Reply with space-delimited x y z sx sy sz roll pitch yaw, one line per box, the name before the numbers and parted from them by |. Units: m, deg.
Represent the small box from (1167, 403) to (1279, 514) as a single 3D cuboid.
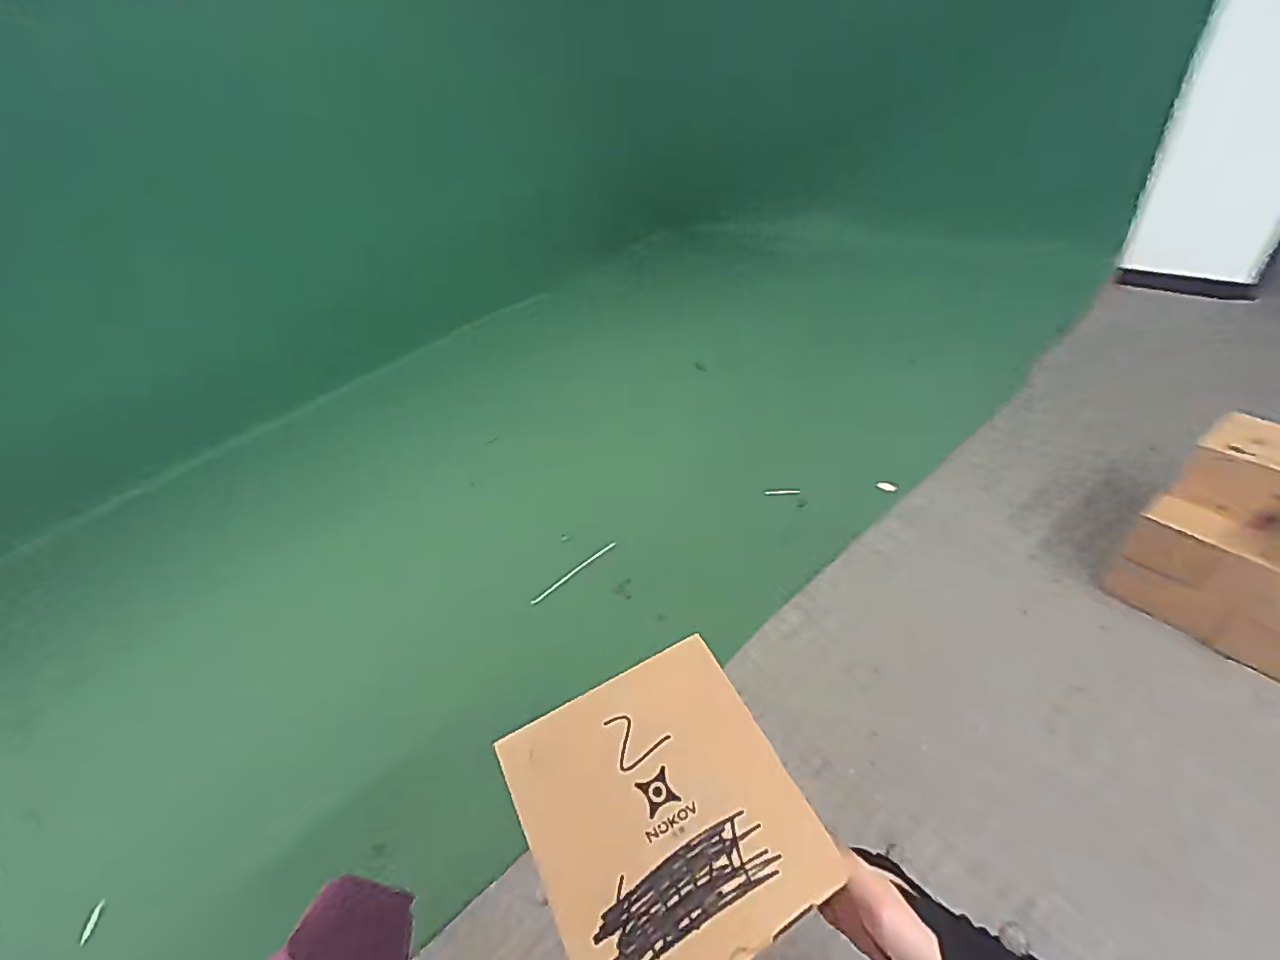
small box | 1.434 -0.051 1.300 0.179 0.176 0.168 -30 42 -18
